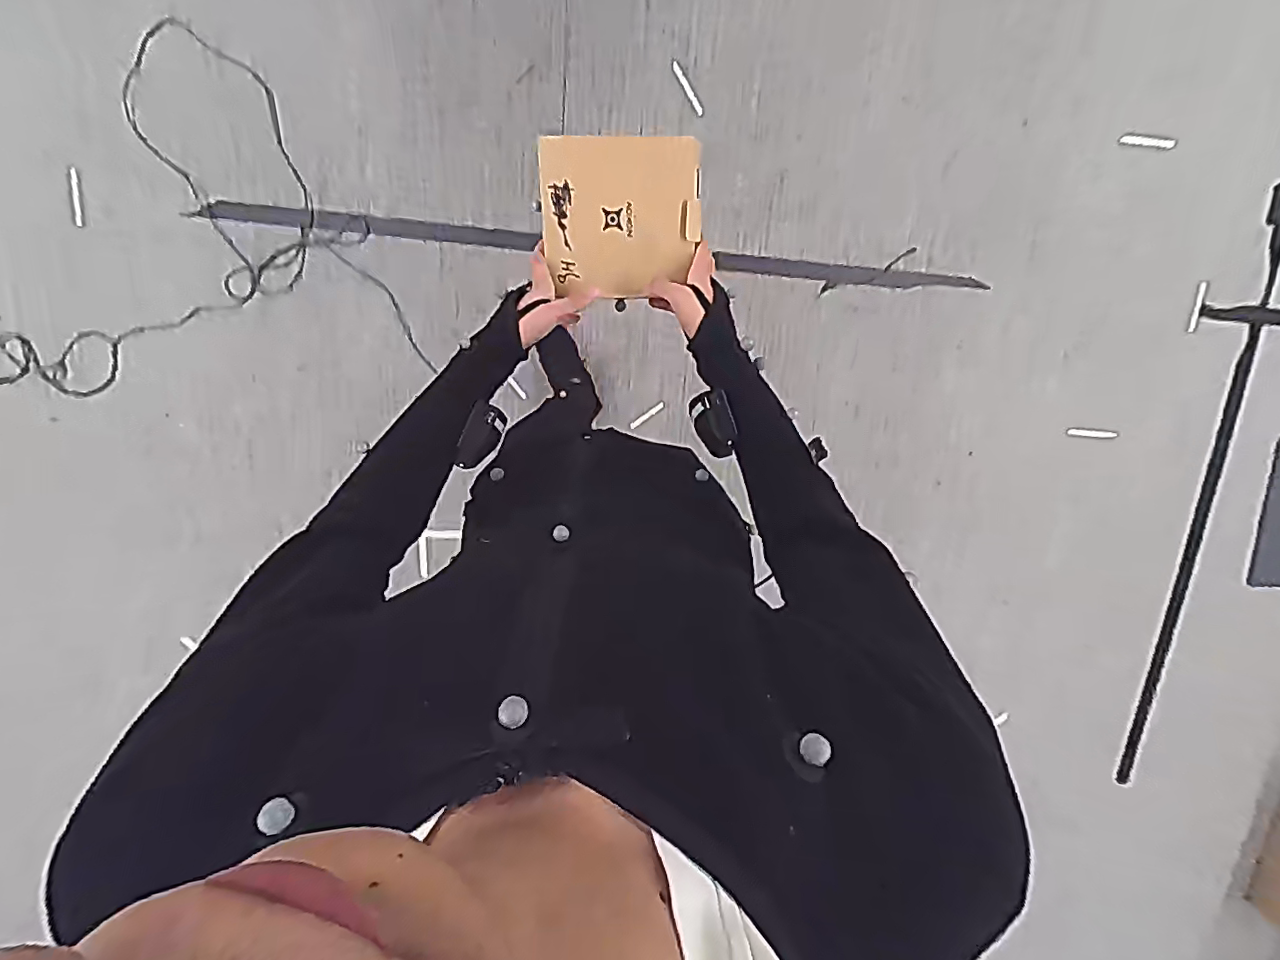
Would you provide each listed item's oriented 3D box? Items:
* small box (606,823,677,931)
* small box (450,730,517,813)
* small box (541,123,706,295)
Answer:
[{"bbox_3d":[-0.002,1.041,1.430,0.179,0.176,0.168,0,103,-3],"label":"small box"},{"bbox_3d":[-0.493,0.924,1.723,0.179,0.176,0.168,5,102,-2],"label":"small box"},{"bbox_3d":[-0.023,-0.317,0.663,0.179,0.176,0.168,-1,108,-3],"label":"small box"}]
